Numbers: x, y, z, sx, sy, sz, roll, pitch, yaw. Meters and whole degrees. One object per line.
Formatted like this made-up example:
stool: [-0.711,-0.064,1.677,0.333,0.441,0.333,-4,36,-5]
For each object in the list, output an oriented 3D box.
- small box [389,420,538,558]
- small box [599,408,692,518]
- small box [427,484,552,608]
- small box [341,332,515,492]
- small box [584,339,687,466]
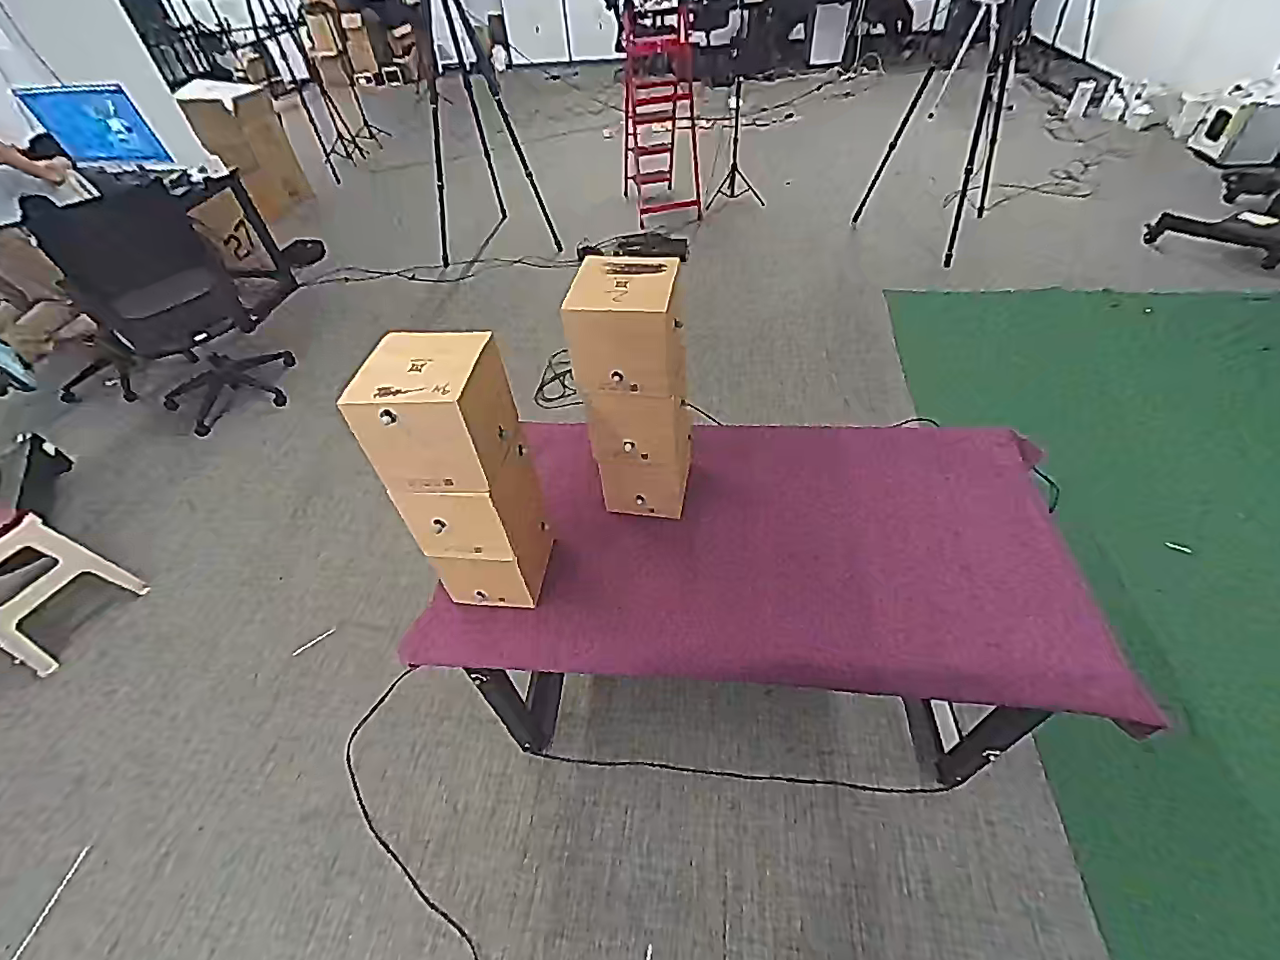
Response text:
small box: [-0.283,0.016,0.919,0.168,0.176,0.179,2,45,8]
small box: [0.017,-0.044,1.168,0.168,0.176,0.179,6,49,11]
small box: [-0.276,0.122,1.041,0.168,0.176,0.179,2,47,8]
small box: [-0.296,-0.102,0.805,0.168,0.176,0.179,0,45,7]
small box: [-0.001,-0.151,1.045,0.168,0.176,0.179,5,49,9]
